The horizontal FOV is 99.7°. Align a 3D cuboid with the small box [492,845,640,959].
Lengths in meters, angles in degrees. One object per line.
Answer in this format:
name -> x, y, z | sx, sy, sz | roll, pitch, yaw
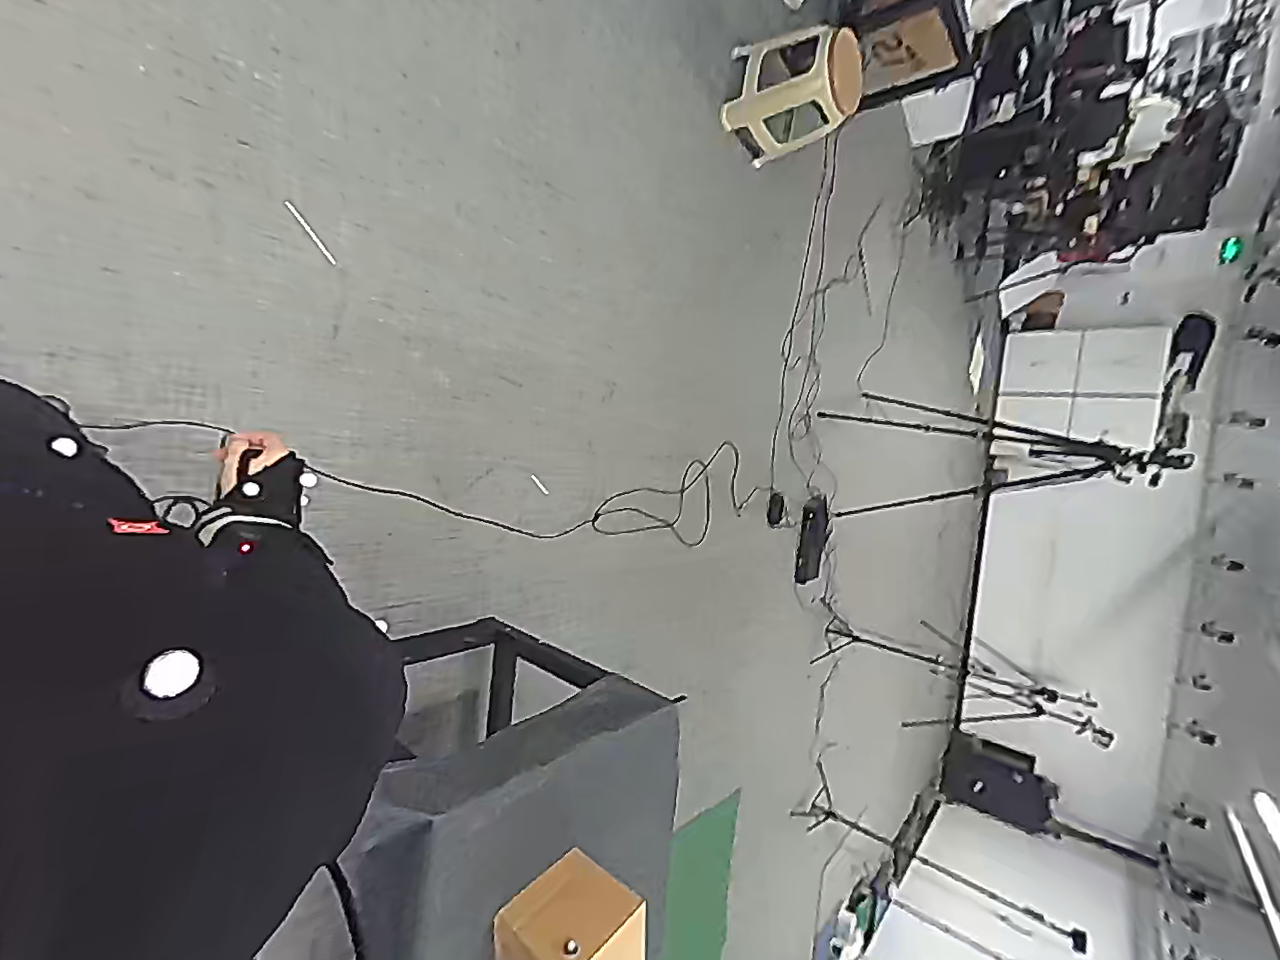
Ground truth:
small box -> -0.121, 0.754, 0.884 | 0.179, 0.176, 0.168 | -11, 105, -48
